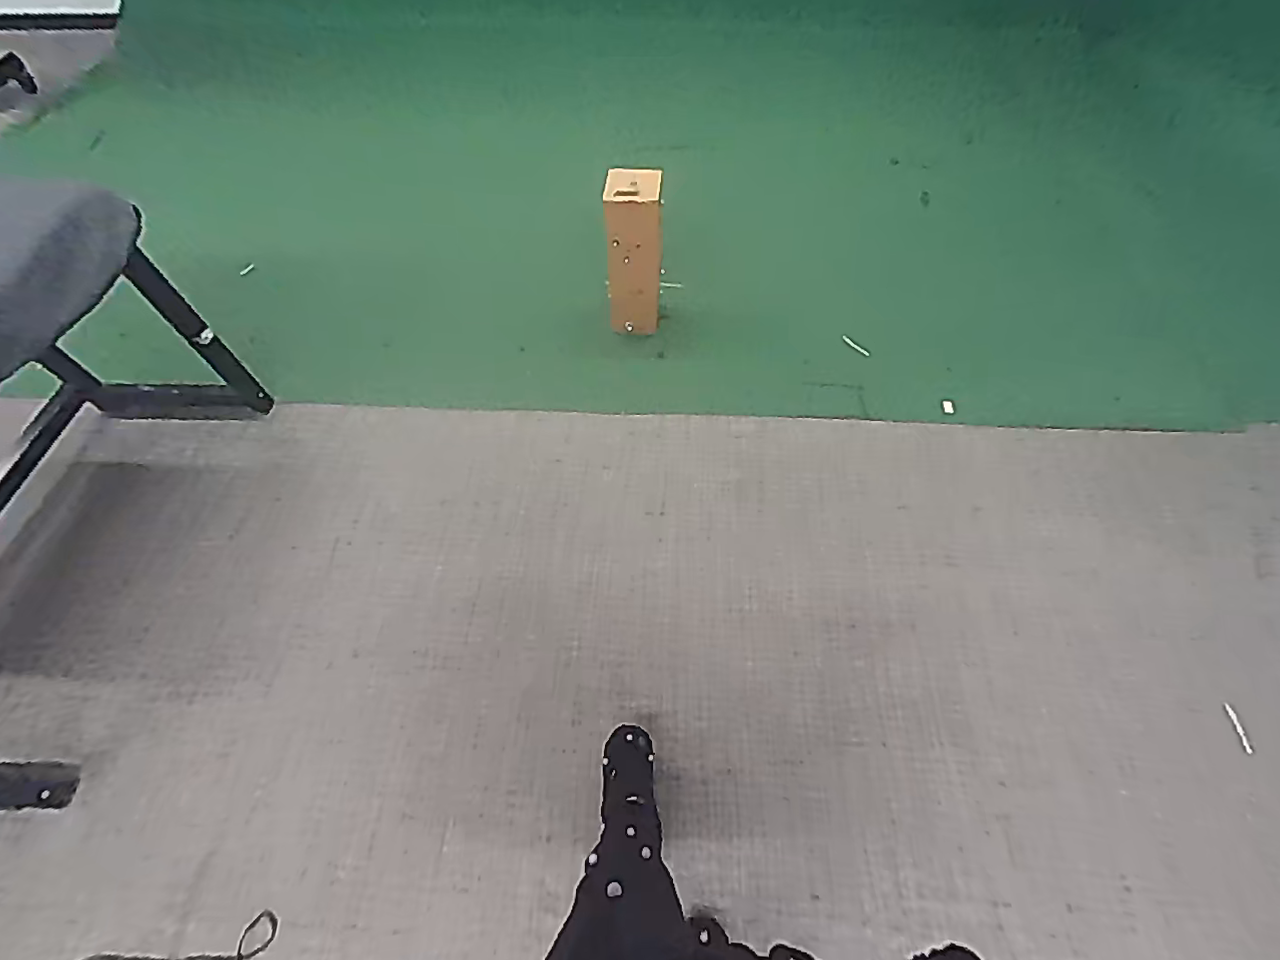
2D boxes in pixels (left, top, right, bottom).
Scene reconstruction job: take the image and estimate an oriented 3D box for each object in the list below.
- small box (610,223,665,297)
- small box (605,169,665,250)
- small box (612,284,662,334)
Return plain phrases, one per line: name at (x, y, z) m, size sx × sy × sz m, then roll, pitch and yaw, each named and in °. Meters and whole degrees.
small box at (-0.006, -0.746, 1.821) m, size 0.168 × 0.176 × 0.179 m, roll 4°, pitch 57°, yaw 4°
small box at (-0.011, -0.840, 1.685) m, size 0.168 × 0.176 × 0.179 m, roll 4°, pitch 57°, yaw 4°
small box at (-0.007, -0.655, 1.957) m, size 0.168 × 0.176 × 0.179 m, roll 3°, pitch 59°, yaw 4°
